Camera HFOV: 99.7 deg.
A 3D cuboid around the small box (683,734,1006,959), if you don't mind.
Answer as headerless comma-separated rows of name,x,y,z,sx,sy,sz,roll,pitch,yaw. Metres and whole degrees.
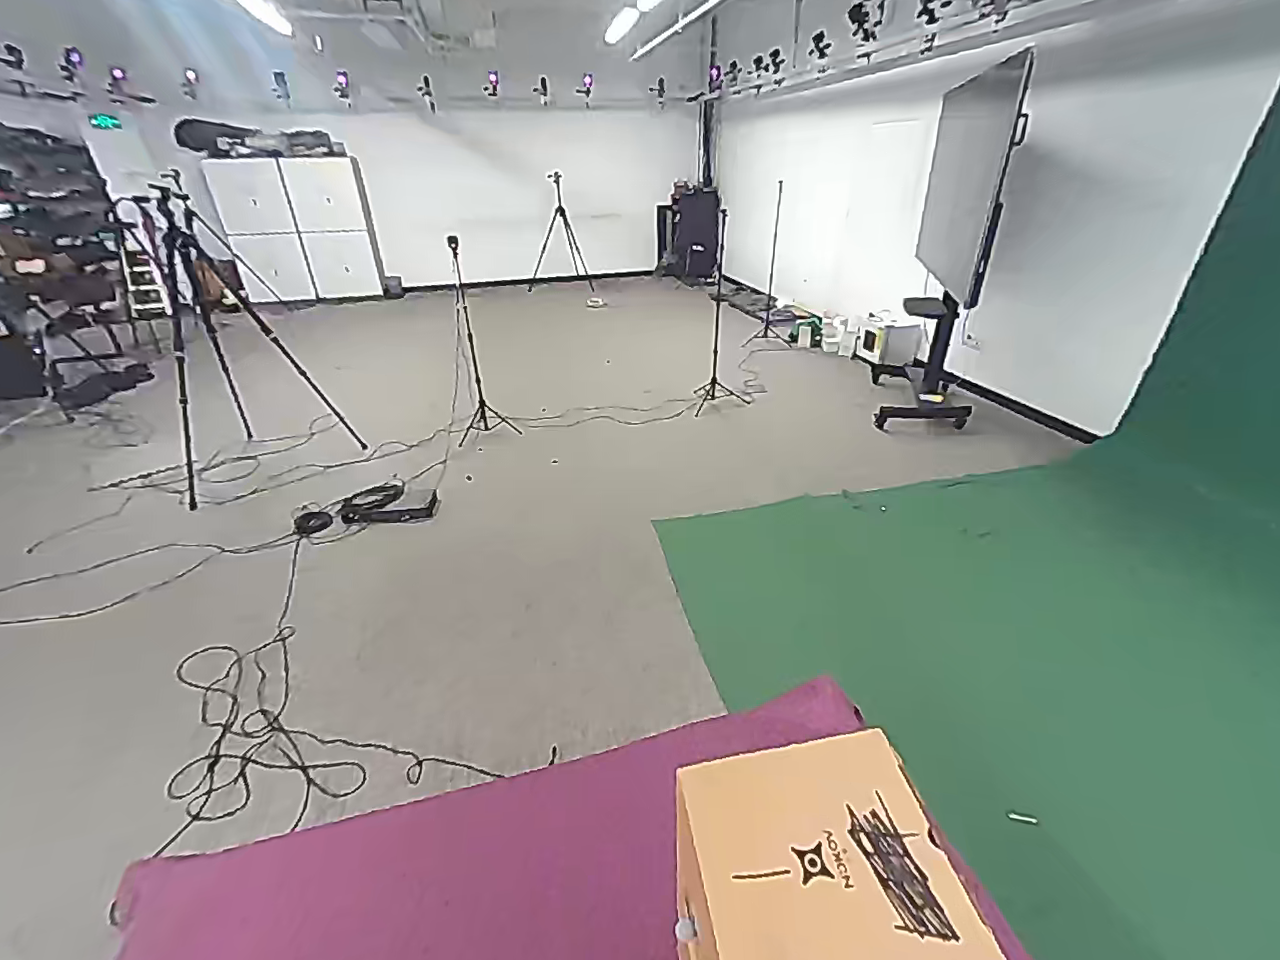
small box,0.134,0.331,0.423,0.179,0.176,0.168,-8,38,-6
